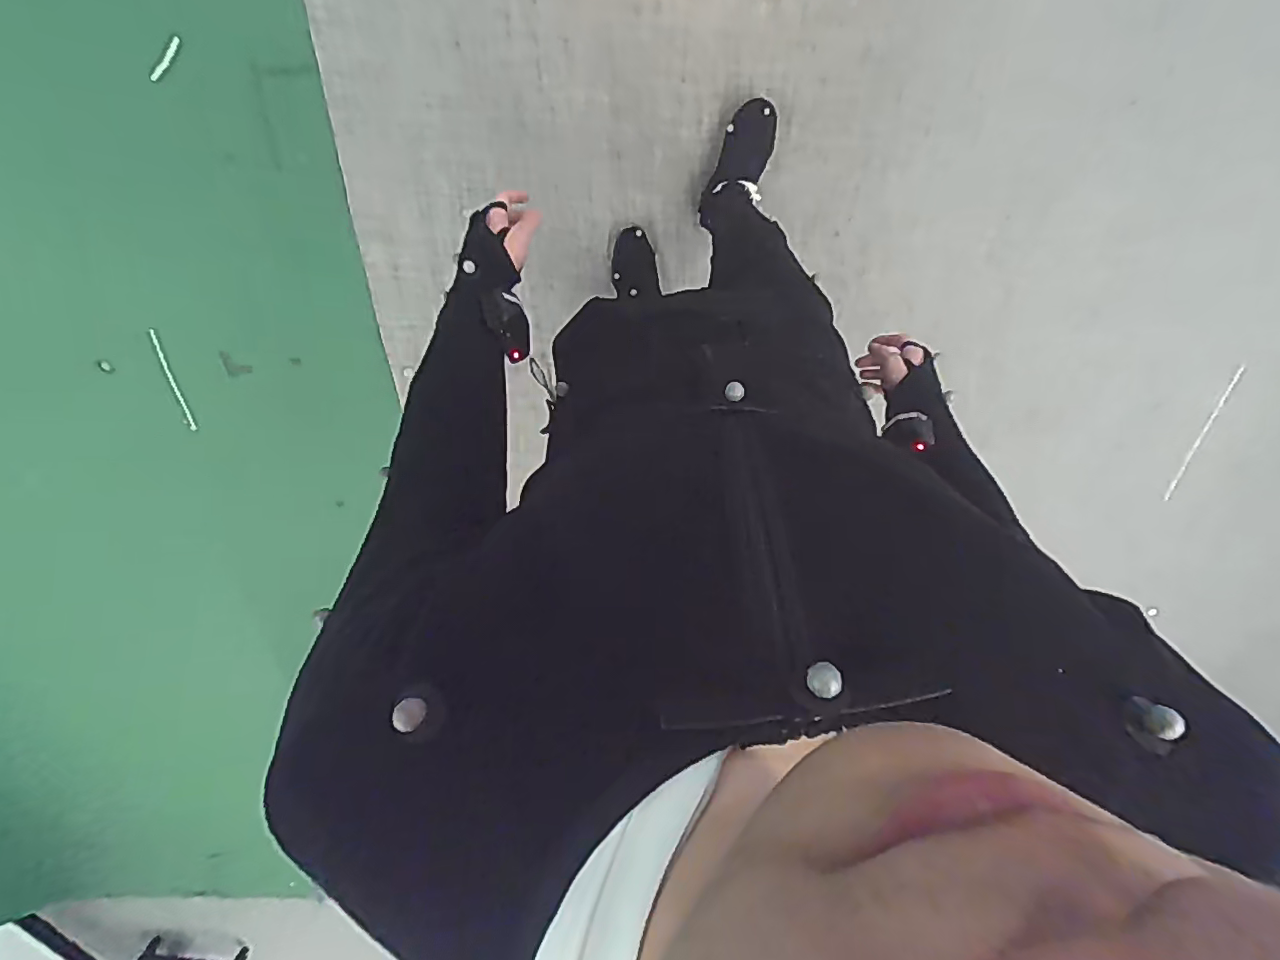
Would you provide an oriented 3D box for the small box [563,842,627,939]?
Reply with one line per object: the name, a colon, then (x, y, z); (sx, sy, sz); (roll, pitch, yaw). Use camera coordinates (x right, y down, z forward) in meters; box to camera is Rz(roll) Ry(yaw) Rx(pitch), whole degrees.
small box: (-0.122, 1.153, 1.521); (0.168, 0.176, 0.179); (1, 122, -1)
